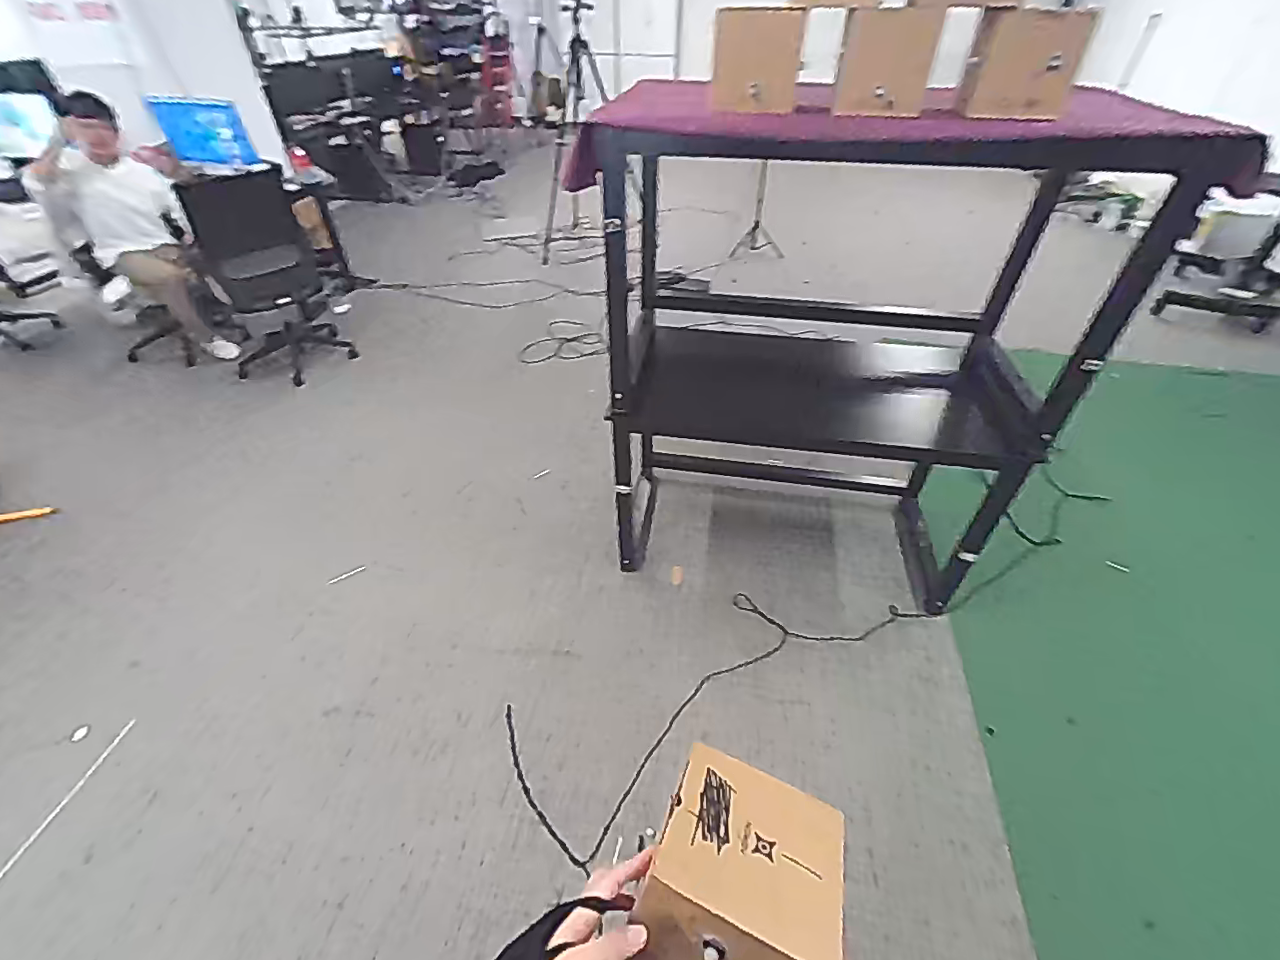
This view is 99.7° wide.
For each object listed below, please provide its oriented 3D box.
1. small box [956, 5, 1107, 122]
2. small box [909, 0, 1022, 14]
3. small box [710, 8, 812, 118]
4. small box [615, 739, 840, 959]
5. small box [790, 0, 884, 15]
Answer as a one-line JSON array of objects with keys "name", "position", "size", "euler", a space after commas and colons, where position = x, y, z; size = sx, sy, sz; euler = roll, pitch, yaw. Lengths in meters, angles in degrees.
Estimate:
[{"name": "small box", "position": [0.744, -0.807, 1.050], "size": [0.168, 0.176, 0.179], "euler": [9, 41, 11]}, {"name": "small box", "position": [0.604, -0.943, 0.957], "size": [0.179, 0.176, 0.168], "euler": [7, 41, 10]}, {"name": "small box", "position": [0.247, -0.863, 1.121], "size": [0.179, 0.176, 0.168], "euler": [7, 42, 8]}, {"name": "small box", "position": [0.091, 0.423, 0.564], "size": [0.179, 0.176, 0.168], "euler": [21, 25, 13]}, {"name": "small box", "position": [0.373, -0.969, 0.993], "size": [0.168, 0.176, 0.179], "euler": [7, 42, 10]}]
